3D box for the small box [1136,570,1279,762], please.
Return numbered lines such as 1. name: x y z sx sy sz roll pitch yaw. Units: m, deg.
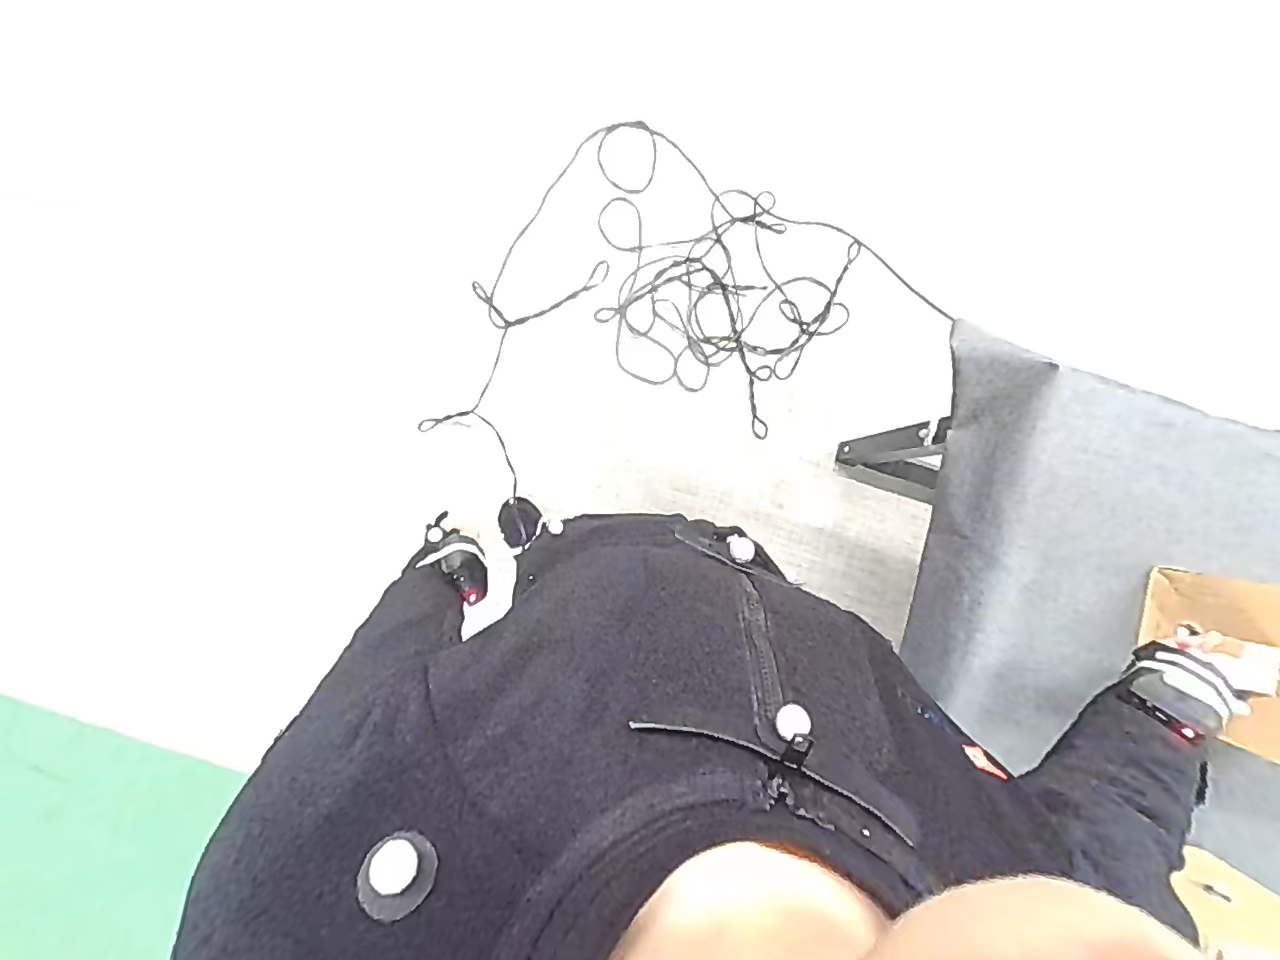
1. small box: 0.690 0.197 0.565 0.179 0.176 0.168 11 89 -1
